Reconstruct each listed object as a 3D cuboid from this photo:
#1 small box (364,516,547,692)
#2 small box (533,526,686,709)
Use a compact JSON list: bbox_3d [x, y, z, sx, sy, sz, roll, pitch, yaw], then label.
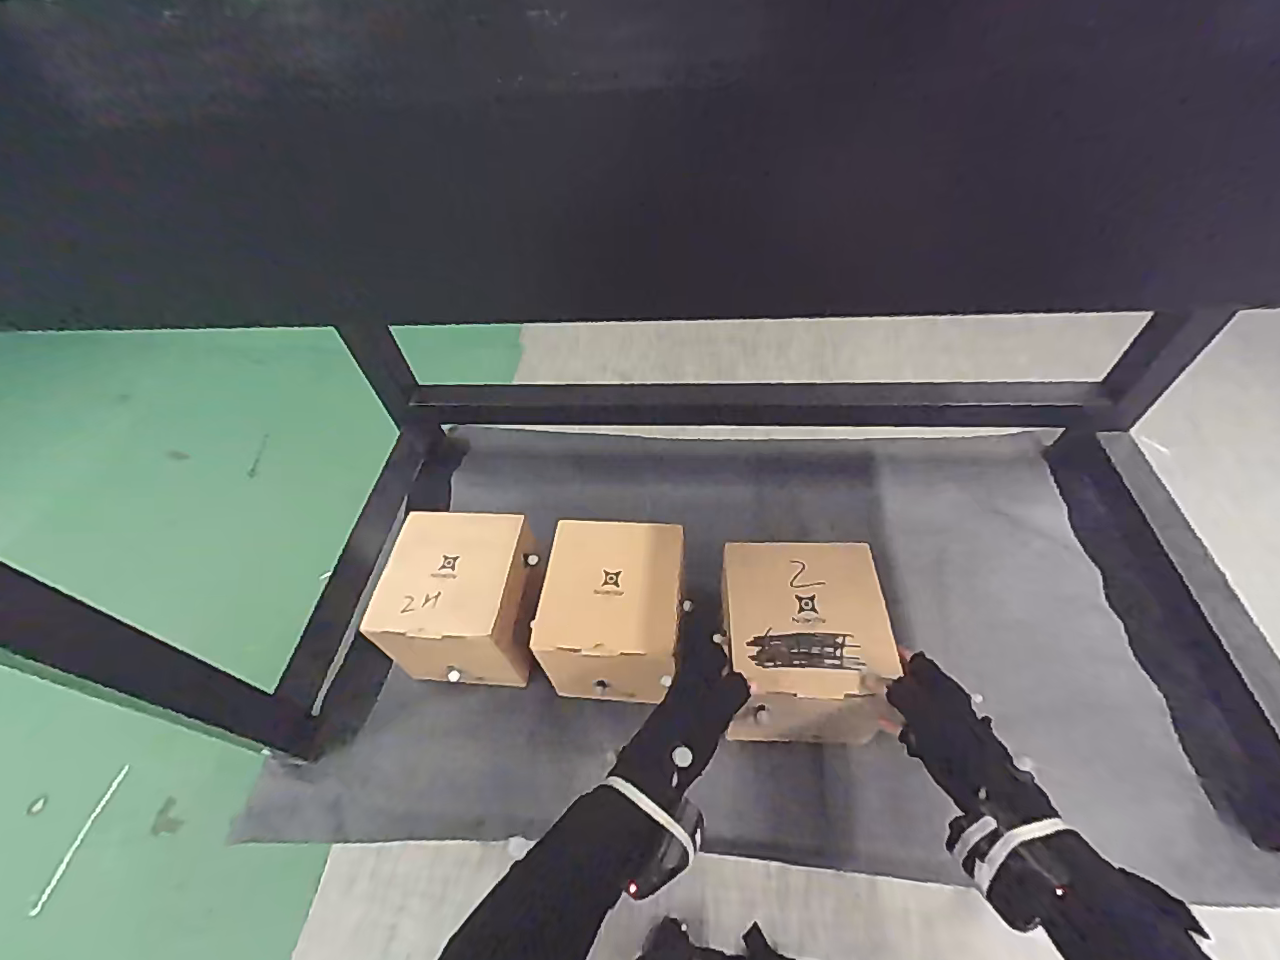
[{"bbox_3d":[-0.233,0.170,0.742,0.168,0.176,0.179,2,51,7],"label":"small box"},{"bbox_3d":[-0.027,0.181,0.714,0.168,0.176,0.179,2,52,7],"label":"small box"}]
